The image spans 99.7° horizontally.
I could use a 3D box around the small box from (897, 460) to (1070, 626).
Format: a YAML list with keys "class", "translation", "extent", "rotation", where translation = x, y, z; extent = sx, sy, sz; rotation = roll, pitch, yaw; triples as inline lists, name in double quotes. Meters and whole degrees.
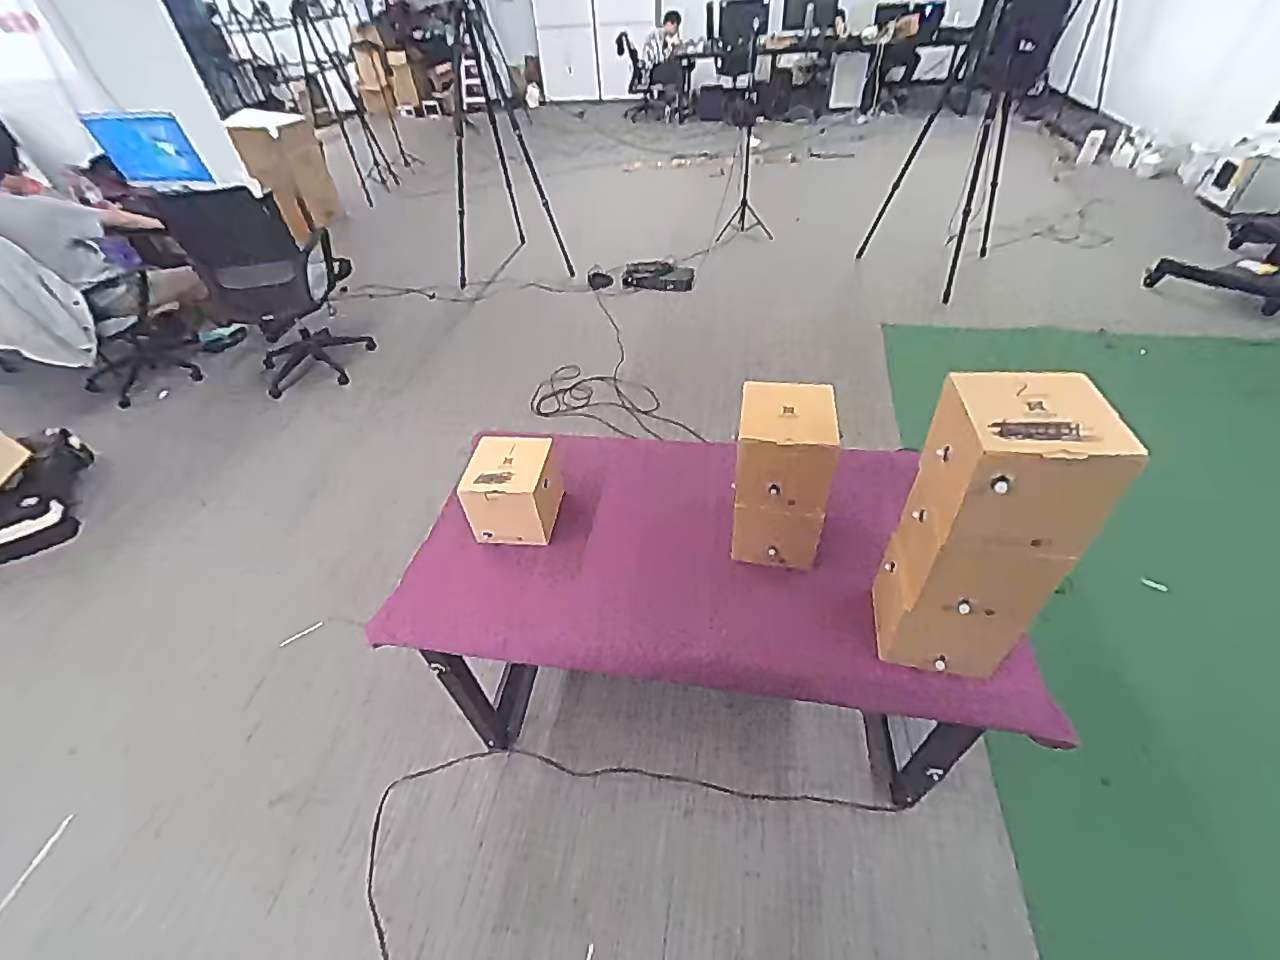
- class: "small box"
  translation: [0.507, 0.095, 0.832]
  extent: [0.168, 0.176, 0.179]
  rotation: [6, 45, 13]

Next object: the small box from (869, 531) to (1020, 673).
- class: "small box"
  translation: [0.514, 0.215, 0.943]
  extent: [0.179, 0.176, 0.168]
  rotation: [7, 44, 12]

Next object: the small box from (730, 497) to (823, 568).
- class: "small box"
  translation: [0.282, 0.055, 1.126]
  extent: [0.168, 0.176, 0.179]
  rotation: [7, 46, 12]

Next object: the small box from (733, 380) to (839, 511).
- class: "small box"
  translation: [0.267, -0.065, 1.018]
  extent: [0.168, 0.176, 0.179]
  rotation: [5, 46, 9]

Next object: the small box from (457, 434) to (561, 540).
- class: "small box"
  translation: [-0.281, 0.016, 1.208]
  extent: [0.168, 0.176, 0.179]
  rotation: [3, 44, 6]
